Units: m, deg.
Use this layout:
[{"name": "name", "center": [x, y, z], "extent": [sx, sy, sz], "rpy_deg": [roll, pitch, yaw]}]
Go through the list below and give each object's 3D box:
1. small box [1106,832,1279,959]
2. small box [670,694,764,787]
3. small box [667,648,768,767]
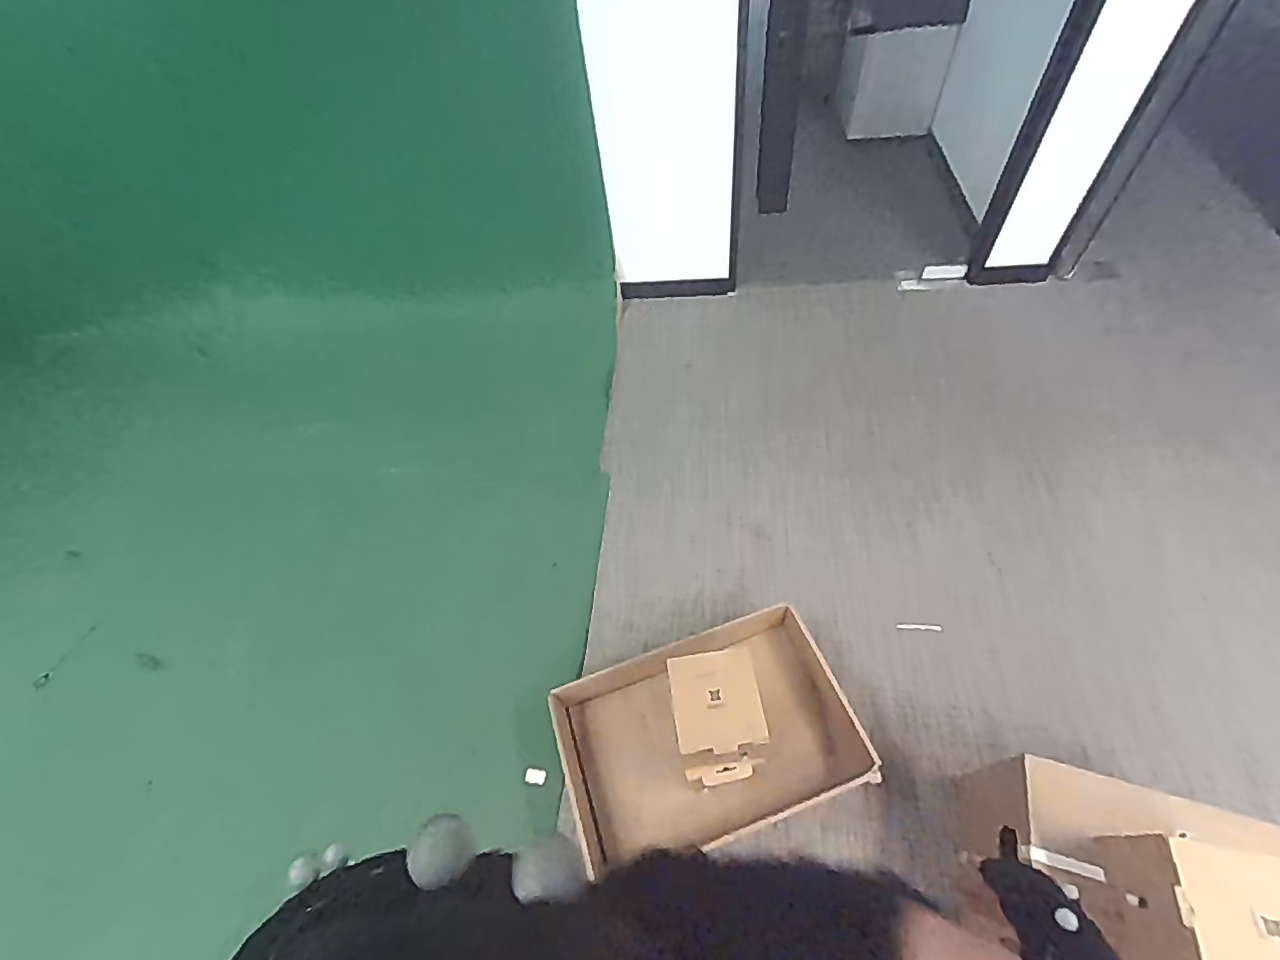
[{"name": "small box", "center": [0.804, 0.614, 0.759], "extent": [0.179, 0.176, 0.168], "rpy_deg": [7, 57, 12]}, {"name": "small box", "center": [0.170, 0.566, 1.201], "extent": [0.168, 0.176, 0.179], "rpy_deg": [-13, 52, -1]}, {"name": "small box", "center": [0.152, 0.460, 1.079], "extent": [0.168, 0.176, 0.179], "rpy_deg": [-10, 51, 1]}]
